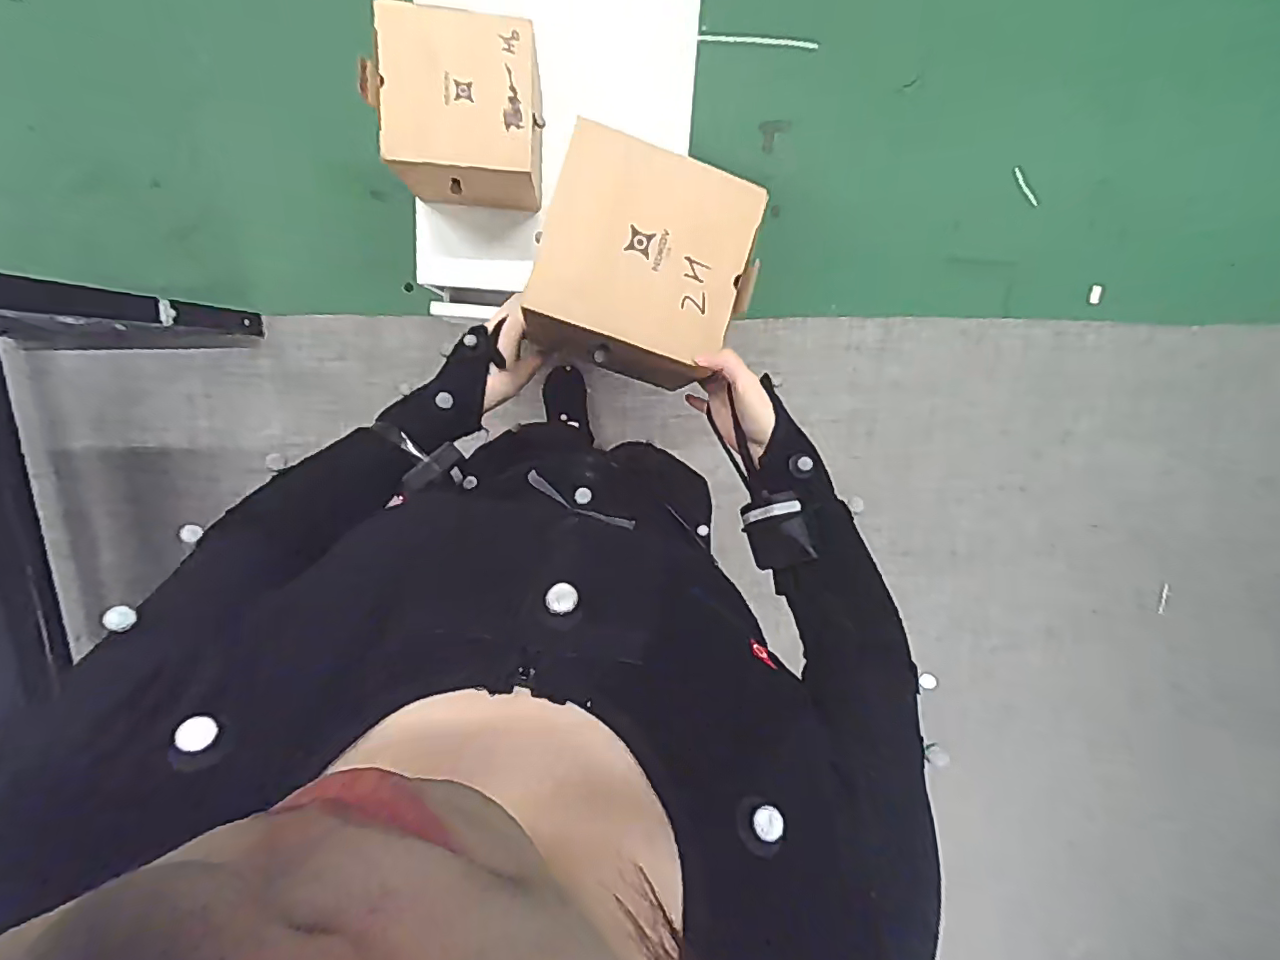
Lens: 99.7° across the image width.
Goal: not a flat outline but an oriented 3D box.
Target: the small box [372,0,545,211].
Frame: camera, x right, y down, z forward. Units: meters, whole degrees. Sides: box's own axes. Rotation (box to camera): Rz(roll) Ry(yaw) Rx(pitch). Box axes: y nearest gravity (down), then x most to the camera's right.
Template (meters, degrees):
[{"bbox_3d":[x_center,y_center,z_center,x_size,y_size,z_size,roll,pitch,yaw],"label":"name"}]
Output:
[{"bbox_3d":[-0.218,-0.458,0.689,0.179,0.176,0.168,2,101,-6],"label":"small box"}]

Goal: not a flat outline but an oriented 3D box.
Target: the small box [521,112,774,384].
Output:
[{"bbox_3d":[-0.004,-0.199,0.524,0.179,0.176,0.168,17,92,-10],"label":"small box"}]
